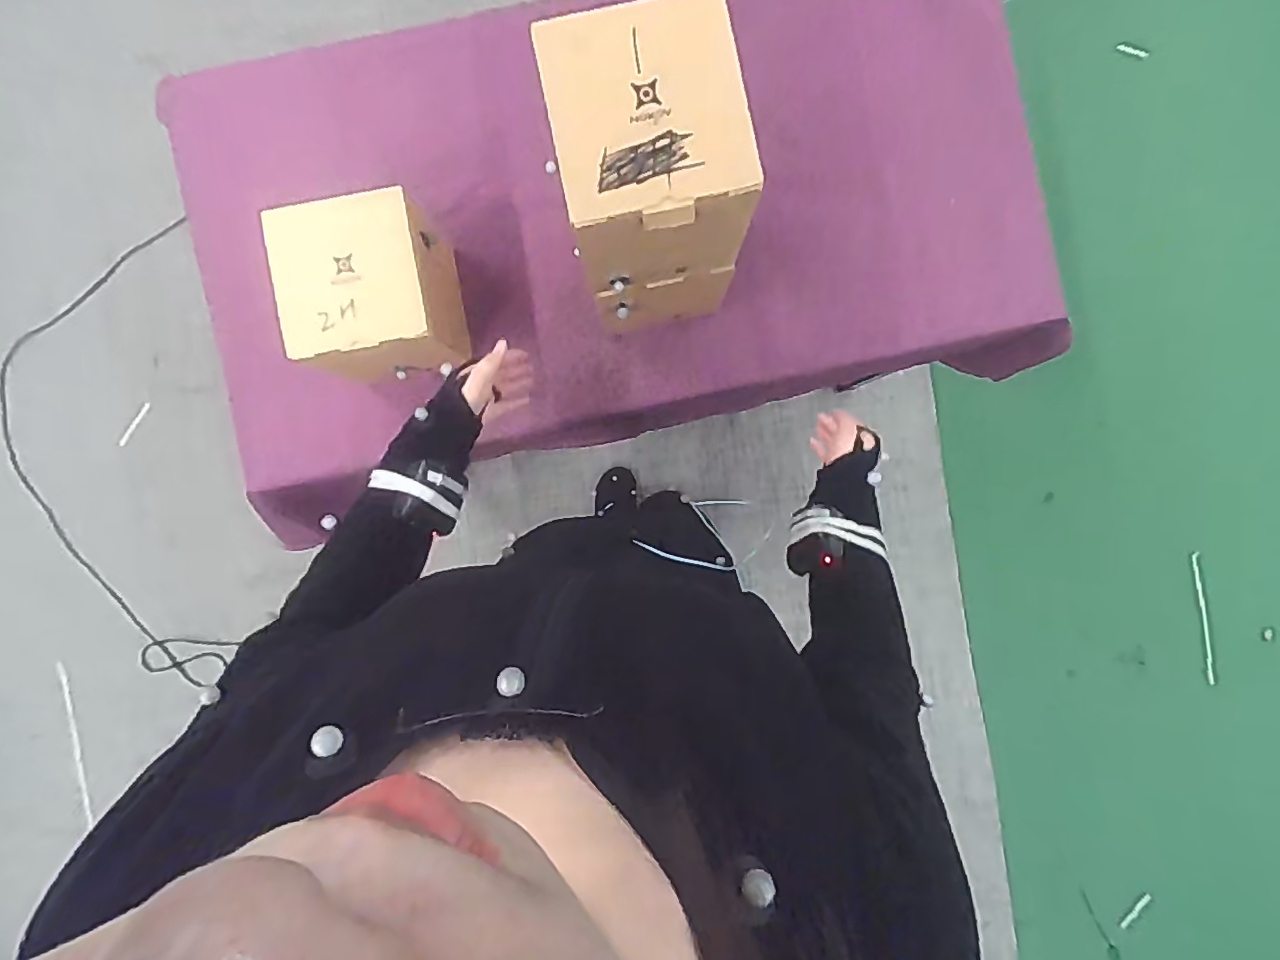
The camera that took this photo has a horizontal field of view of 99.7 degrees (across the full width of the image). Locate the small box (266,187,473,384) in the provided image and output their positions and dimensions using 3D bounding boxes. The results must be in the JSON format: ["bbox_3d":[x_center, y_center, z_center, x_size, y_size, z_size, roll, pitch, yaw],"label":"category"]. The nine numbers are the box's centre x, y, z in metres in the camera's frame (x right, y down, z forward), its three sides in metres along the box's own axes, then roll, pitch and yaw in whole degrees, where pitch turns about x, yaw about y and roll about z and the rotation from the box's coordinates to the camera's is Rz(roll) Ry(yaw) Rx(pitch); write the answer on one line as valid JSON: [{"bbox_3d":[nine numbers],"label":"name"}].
[{"bbox_3d":[-0.330,-0.235,0.693,0.168,0.176,0.179,-11,90,0],"label":"small box"}]

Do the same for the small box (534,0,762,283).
[{"bbox_3d":[0.008,-0.311,0.528,0.168,0.176,0.179,-12,88,0],"label":"small box"}]
